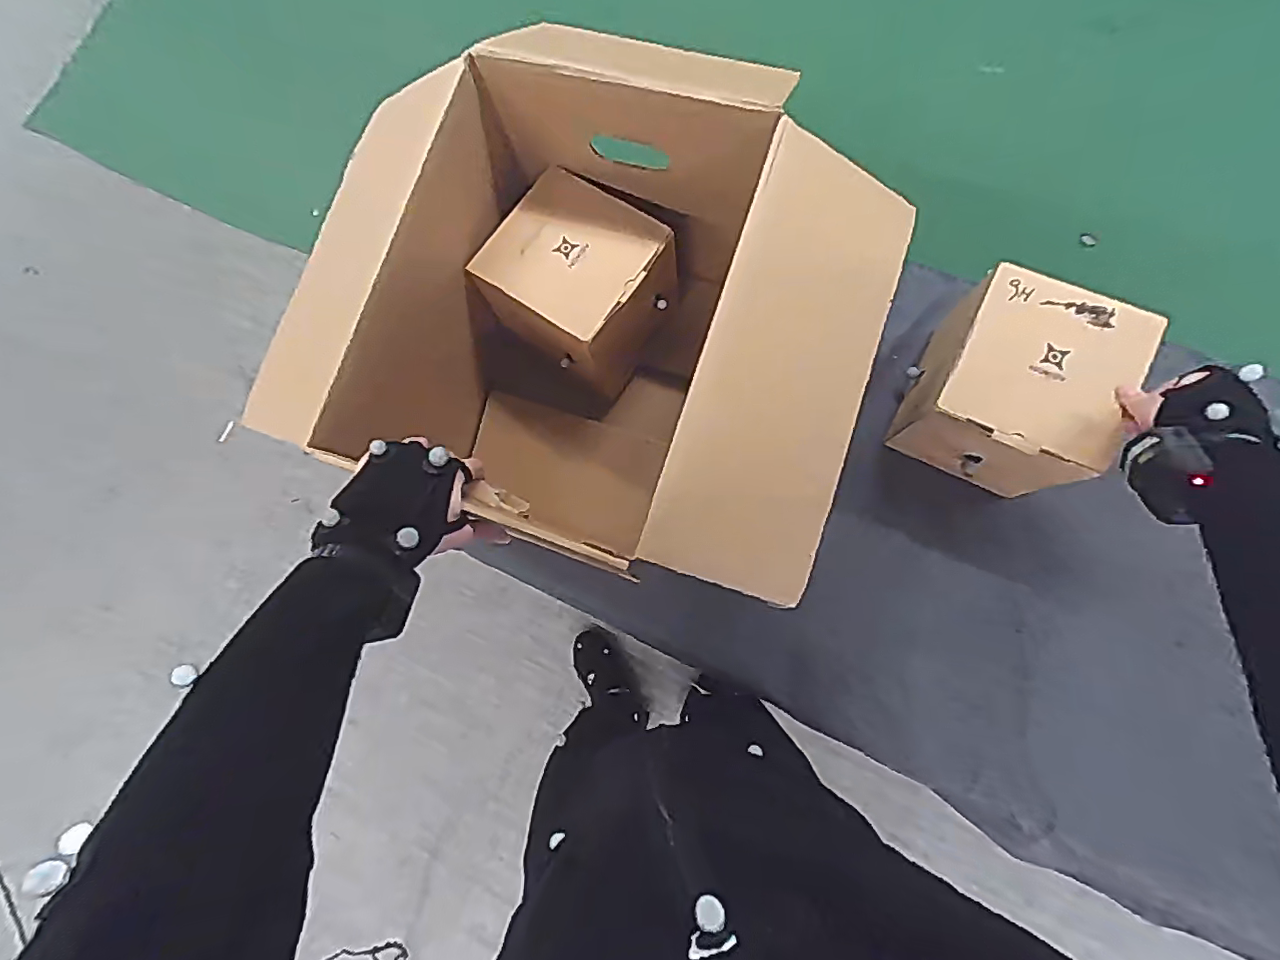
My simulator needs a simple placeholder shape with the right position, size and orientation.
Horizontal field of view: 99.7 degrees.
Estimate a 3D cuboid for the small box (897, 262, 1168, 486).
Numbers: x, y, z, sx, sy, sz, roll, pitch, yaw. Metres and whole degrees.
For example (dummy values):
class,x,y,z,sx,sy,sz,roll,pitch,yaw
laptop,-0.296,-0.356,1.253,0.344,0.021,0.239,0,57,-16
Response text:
class,x,y,z,sx,sy,sz,roll,pitch,yaw
small box,0.425,-0.106,0.623,0.168,0.176,0.179,26,86,10
